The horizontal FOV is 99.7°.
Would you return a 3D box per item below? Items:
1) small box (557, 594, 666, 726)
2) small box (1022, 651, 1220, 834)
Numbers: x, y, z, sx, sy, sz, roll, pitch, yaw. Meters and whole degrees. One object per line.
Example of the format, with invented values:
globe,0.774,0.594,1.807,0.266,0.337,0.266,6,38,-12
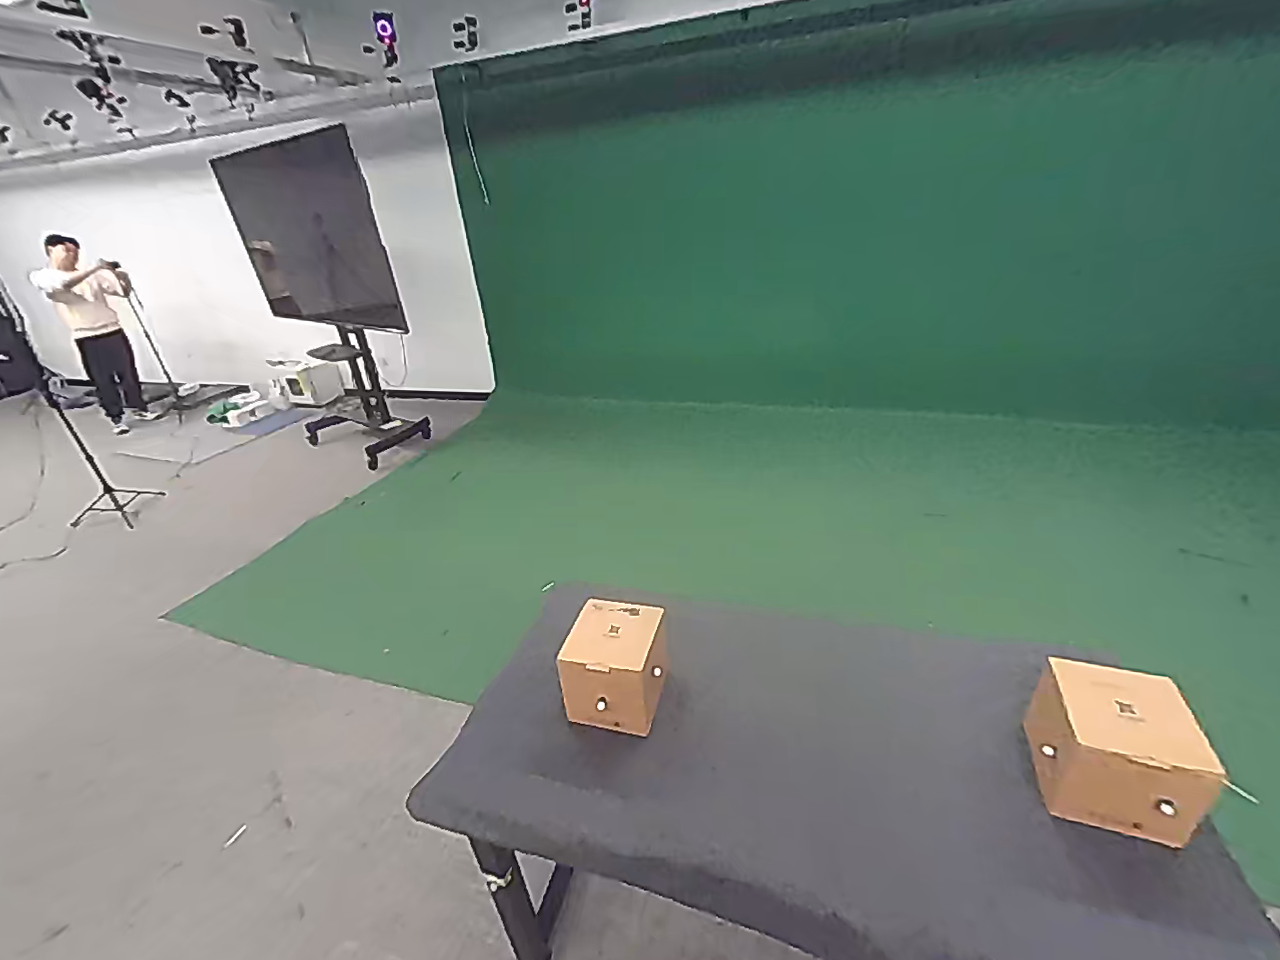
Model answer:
small box,-0.045,0.355,1.075,0.168,0.176,0.179,4,29,16
small box,0.727,0.405,0.844,0.168,0.176,0.179,7,29,20
